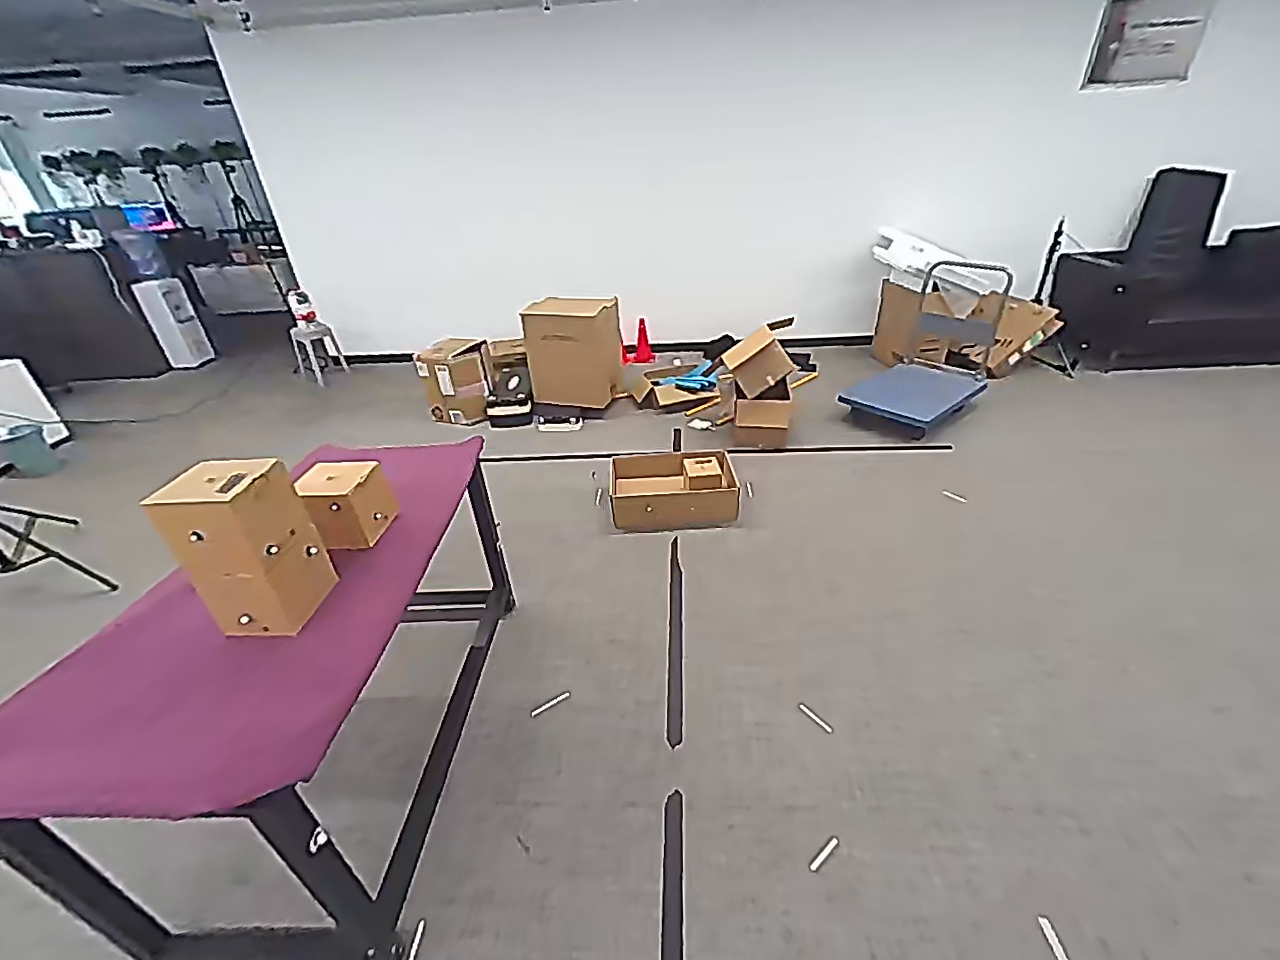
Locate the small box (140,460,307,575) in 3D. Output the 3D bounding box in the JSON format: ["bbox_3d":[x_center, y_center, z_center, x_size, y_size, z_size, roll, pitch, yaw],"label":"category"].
[{"bbox_3d":[-0.818,0.075,1.088,0.179,0.176,0.168,-3,31,3],"label":"small box"}]

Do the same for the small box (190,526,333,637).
[{"bbox_3d":[-0.801,0.216,1.172,0.168,0.176,0.179,-2,31,5],"label":"small box"}]

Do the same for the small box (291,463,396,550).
[{"bbox_3d":[-0.774,0.070,1.412,0.179,0.176,0.168,-2,31,5],"label":"small box"}]
